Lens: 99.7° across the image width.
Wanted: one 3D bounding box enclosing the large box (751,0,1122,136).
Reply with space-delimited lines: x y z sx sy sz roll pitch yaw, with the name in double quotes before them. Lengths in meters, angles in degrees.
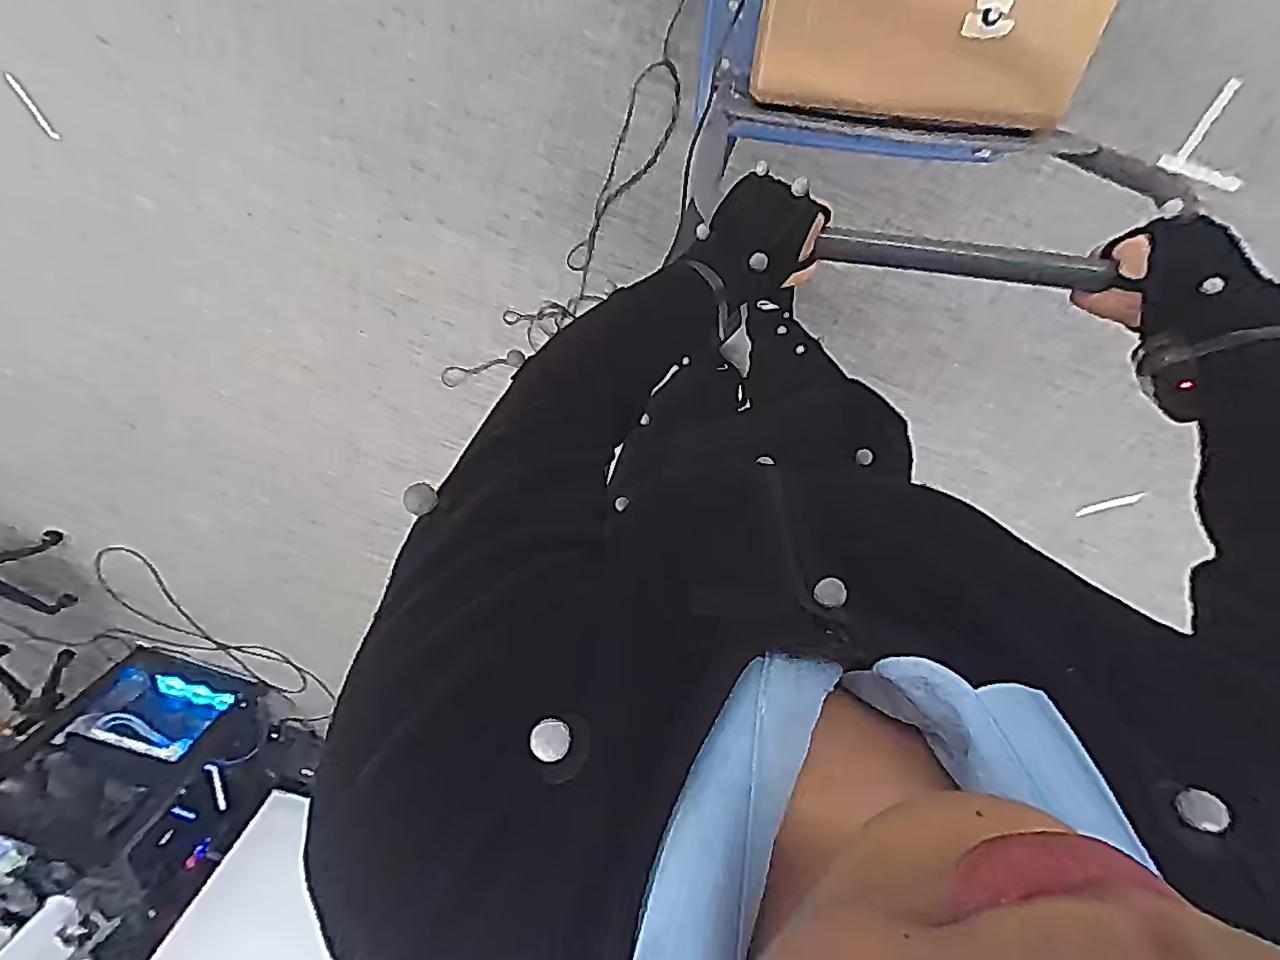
"large box" 0.385 -0.685 0.752 0.408 0.320 0.320 8 127 3
